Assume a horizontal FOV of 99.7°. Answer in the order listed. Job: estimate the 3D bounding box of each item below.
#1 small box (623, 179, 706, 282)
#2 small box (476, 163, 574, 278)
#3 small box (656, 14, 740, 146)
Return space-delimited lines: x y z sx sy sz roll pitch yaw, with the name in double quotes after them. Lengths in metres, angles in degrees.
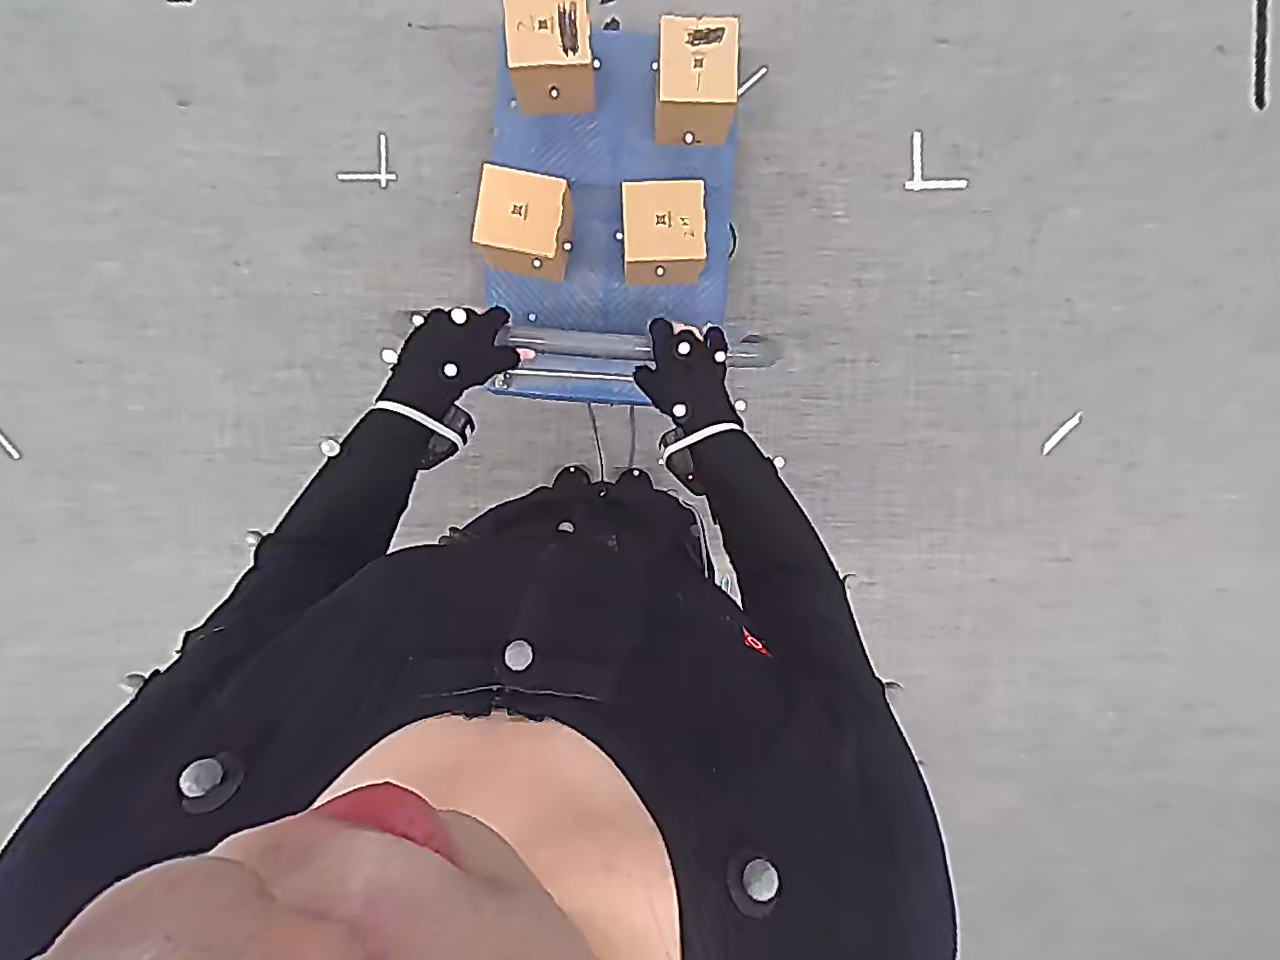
0.052 -0.557 1.227 0.179 0.176 0.168 -2 93 -2 "small box"
-0.252 -0.573 1.217 0.179 0.176 0.168 9 92 -4 "small box"
0.124 -0.889 1.215 0.168 0.176 0.179 0 93 -2 "small box"
